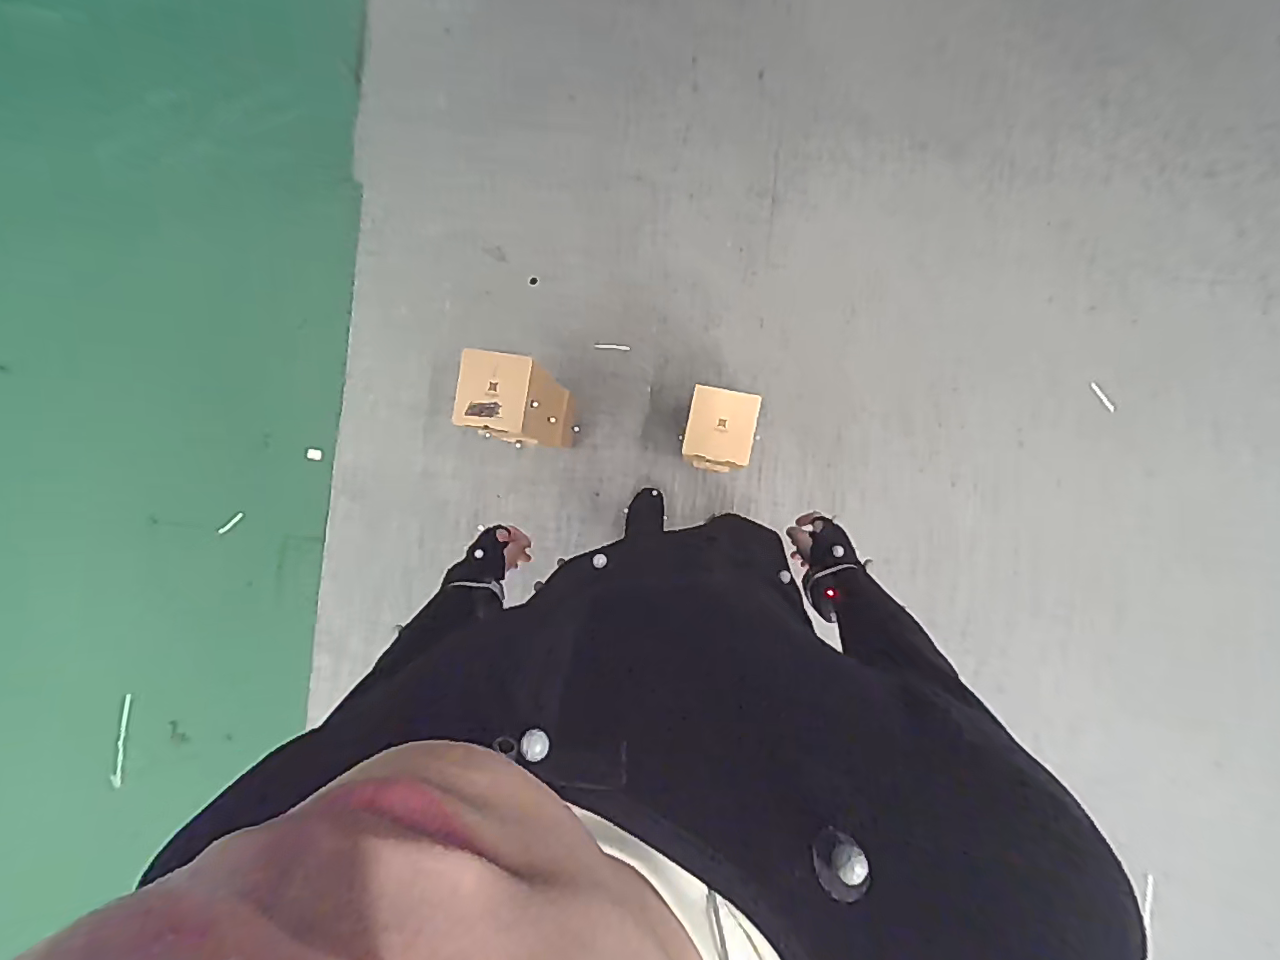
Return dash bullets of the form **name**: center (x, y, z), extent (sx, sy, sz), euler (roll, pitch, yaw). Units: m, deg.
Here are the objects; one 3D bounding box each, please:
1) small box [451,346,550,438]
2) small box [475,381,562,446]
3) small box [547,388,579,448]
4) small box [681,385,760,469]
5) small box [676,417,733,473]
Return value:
- **small box**: center (-0.322, -0.200, 1.279), extent (0.168, 0.176, 0.179), euler (10, 90, 6)
- **small box**: center (-0.317, -0.191, 1.444), extent (0.168, 0.176, 0.179), euler (11, 92, 6)
- **small box**: center (-0.295, -0.191, 1.605), extent (0.179, 0.176, 0.168), euler (11, 91, 6)
- **small box**: center (0.201, -0.130, 1.391), extent (0.168, 0.176, 0.179), euler (12, 91, 5)
- **small box**: center (0.209, -0.125, 1.551), extent (0.168, 0.176, 0.179), euler (18, 92, 8)
